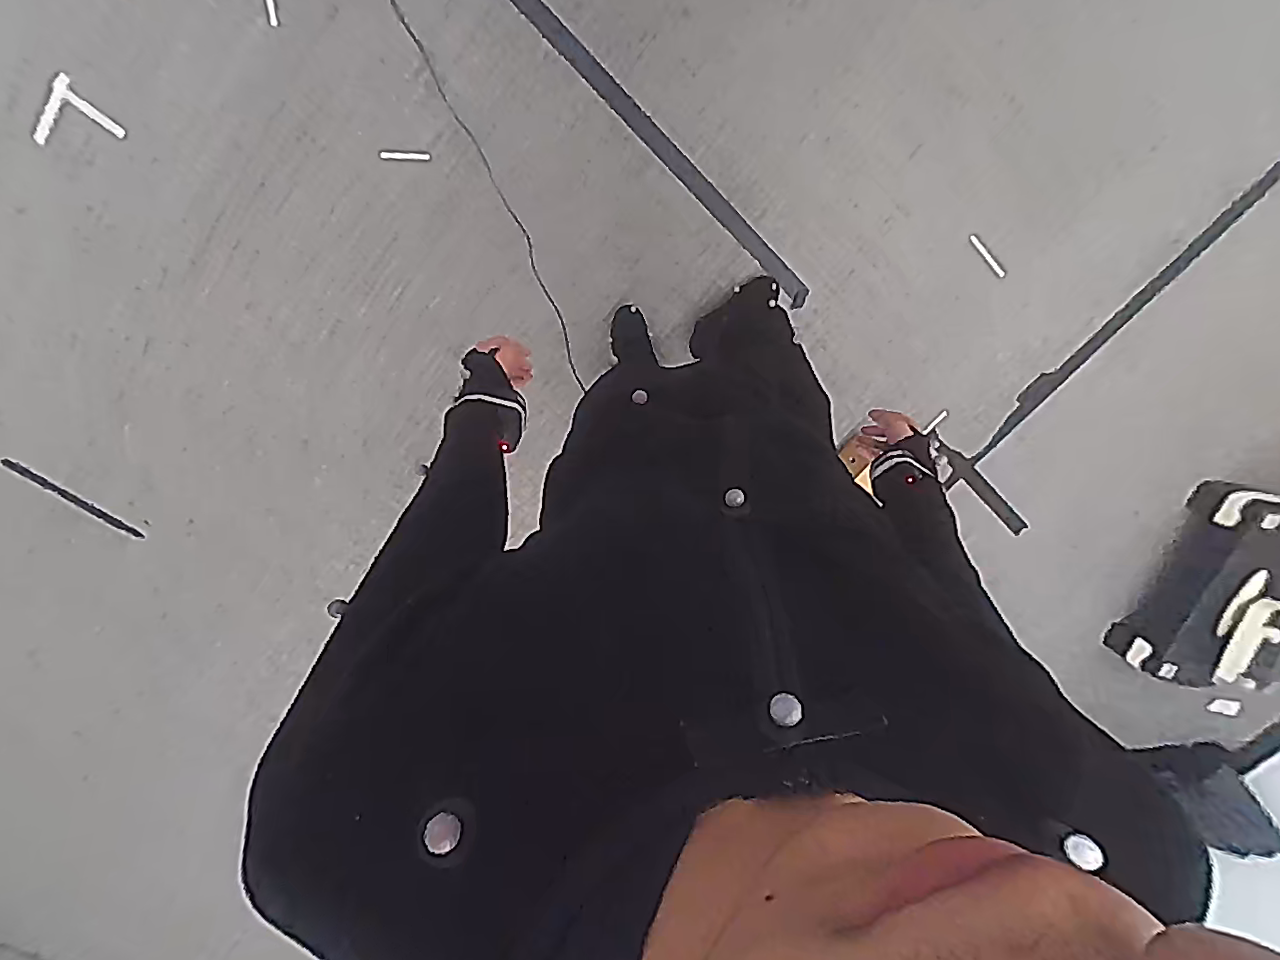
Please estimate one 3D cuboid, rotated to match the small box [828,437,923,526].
[{"bbox_3d":[0.689,-0.001,1.615,0.168,0.176,0.179,37,104,-15],"label":"small box"}]
